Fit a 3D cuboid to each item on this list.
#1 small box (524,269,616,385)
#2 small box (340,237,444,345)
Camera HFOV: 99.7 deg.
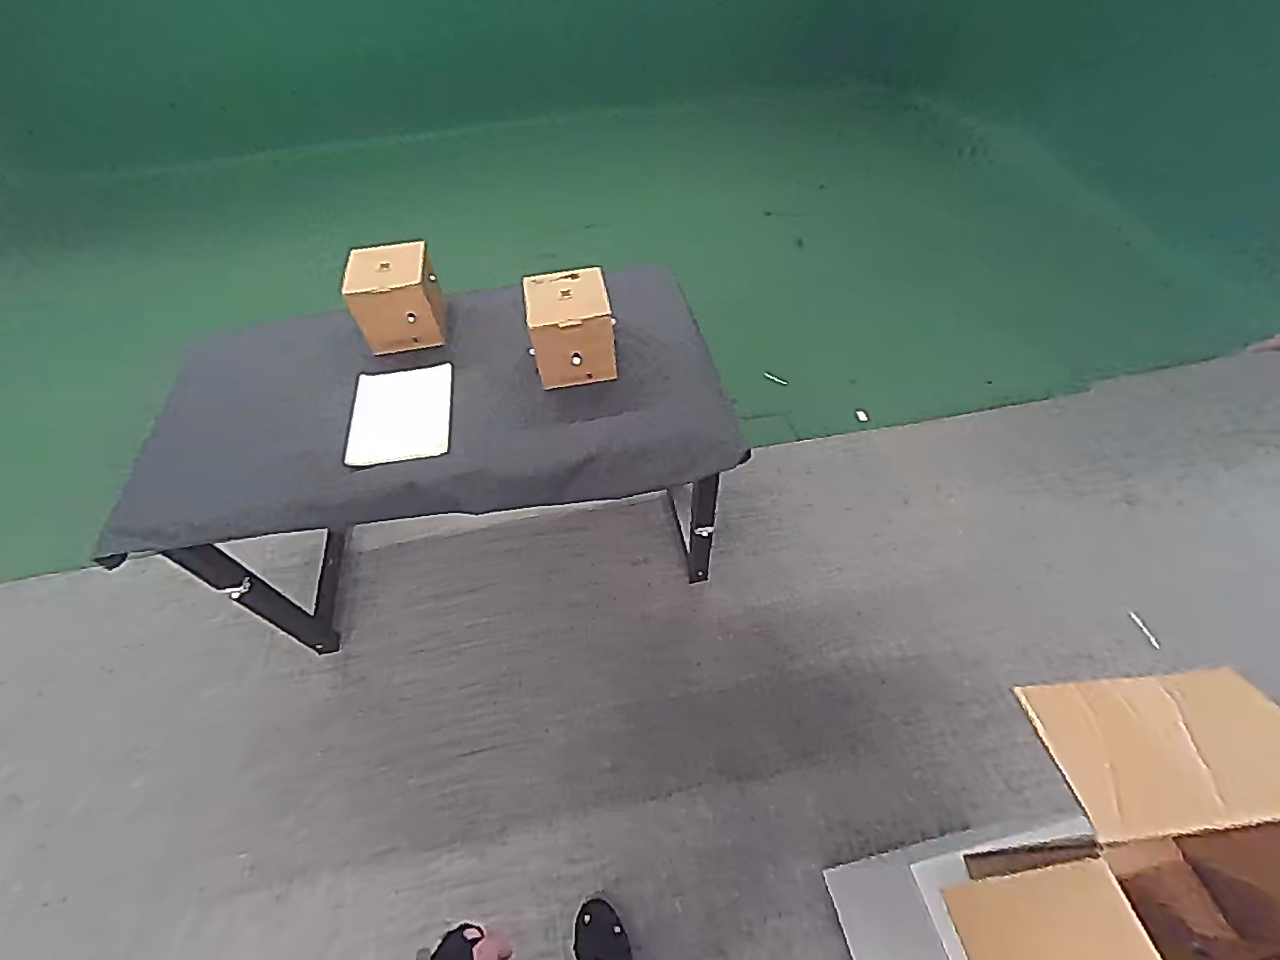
[{"bbox_3d":[-0.148,-0.322,1.166,0.168,0.176,0.179,-9,55,-5],"label":"small box"},{"bbox_3d":[-0.560,-0.428,1.245,0.168,0.176,0.179,-10,53,-6],"label":"small box"}]
